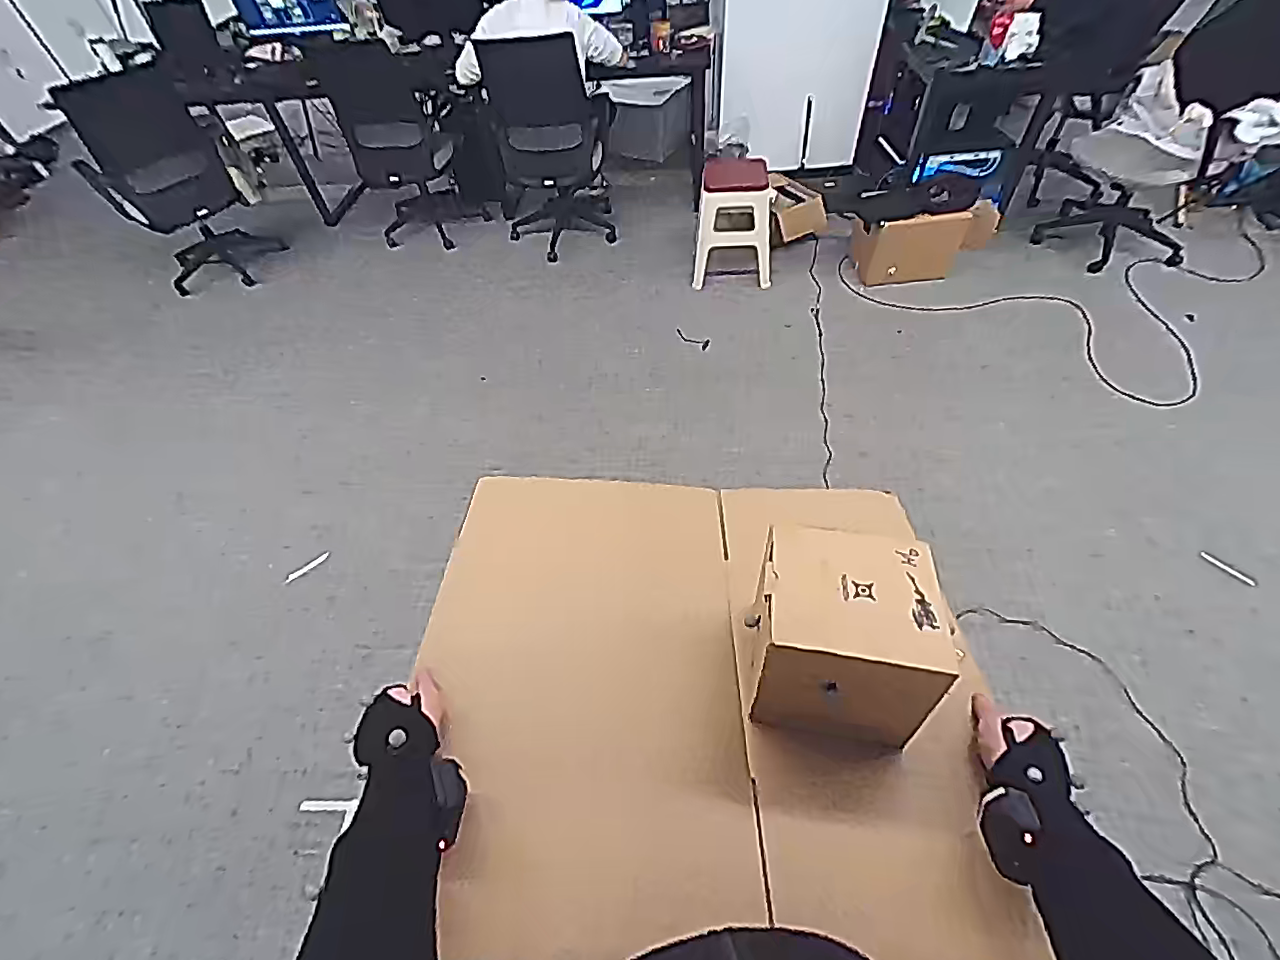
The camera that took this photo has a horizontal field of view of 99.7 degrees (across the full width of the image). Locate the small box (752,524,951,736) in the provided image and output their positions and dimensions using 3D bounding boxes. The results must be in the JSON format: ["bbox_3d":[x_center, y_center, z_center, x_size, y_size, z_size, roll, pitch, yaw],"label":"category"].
[{"bbox_3d":[0.227,0.175,0.630,0.179,0.176,0.168,6,44,10],"label":"small box"}]
